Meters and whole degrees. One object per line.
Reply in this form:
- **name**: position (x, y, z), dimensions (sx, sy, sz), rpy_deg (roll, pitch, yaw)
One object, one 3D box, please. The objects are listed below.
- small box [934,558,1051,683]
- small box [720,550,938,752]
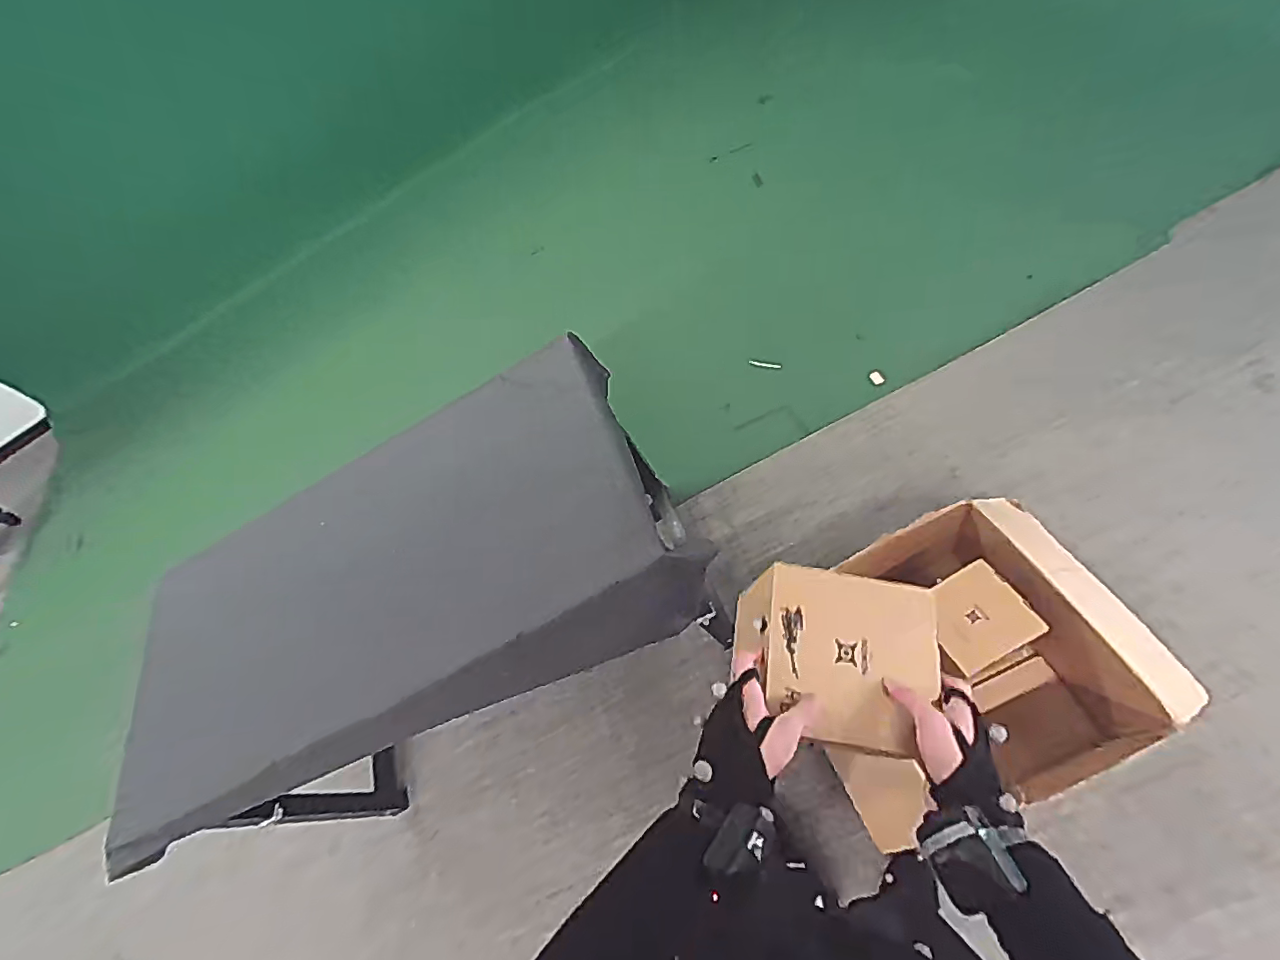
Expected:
- **small box**: position (0.664, 0.289, 1.089), dimensions (0.179, 0.176, 0.168), rpy_deg (-33, 57, 4)
- **small box**: position (0.203, 0.194, 0.609), dimensions (0.179, 0.176, 0.168), rpy_deg (12, 66, -1)
